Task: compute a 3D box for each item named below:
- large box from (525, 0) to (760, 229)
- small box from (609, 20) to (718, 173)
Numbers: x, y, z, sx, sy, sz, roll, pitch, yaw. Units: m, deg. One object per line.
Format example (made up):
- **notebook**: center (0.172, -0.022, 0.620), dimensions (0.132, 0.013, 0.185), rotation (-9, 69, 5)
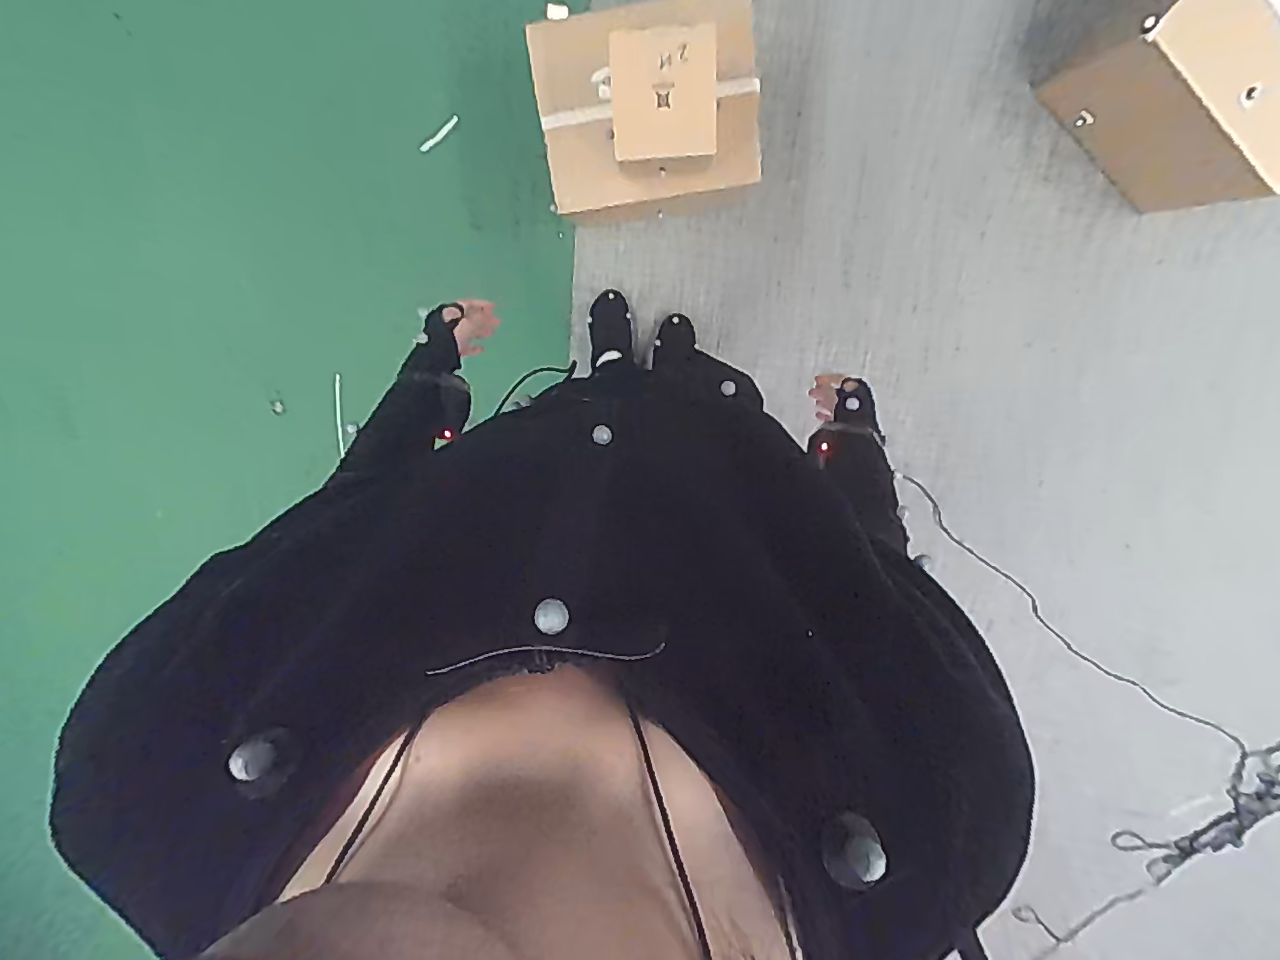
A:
- **large box**: center (0.021, -0.736, 1.132), dimensions (0.408, 0.320, 0.320), rotation (-6, 108, 6)
- **small box**: center (0.040, -0.626, 0.907), dimensions (0.168, 0.176, 0.179), rotation (-2, 110, 2)
